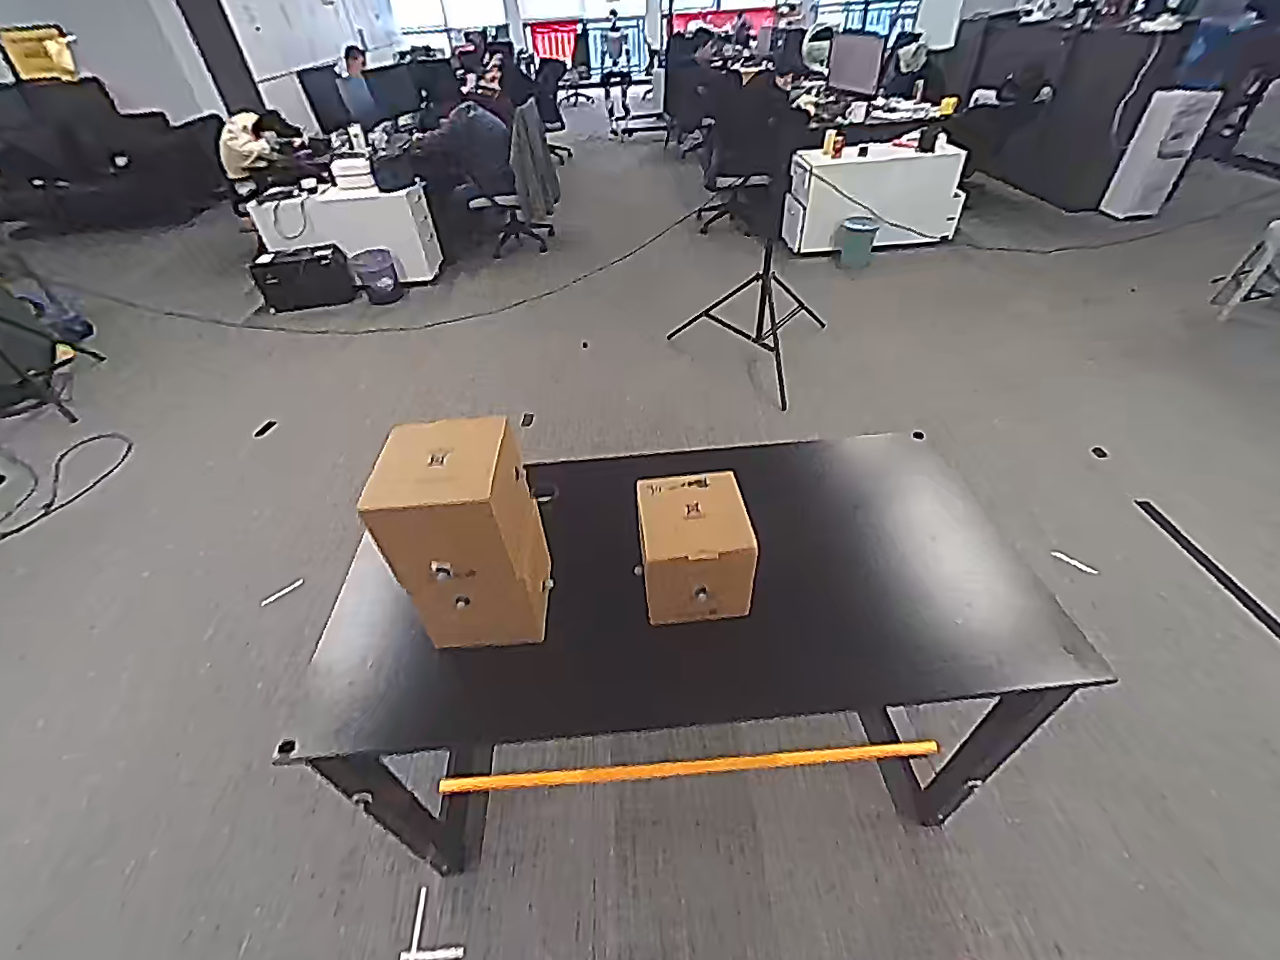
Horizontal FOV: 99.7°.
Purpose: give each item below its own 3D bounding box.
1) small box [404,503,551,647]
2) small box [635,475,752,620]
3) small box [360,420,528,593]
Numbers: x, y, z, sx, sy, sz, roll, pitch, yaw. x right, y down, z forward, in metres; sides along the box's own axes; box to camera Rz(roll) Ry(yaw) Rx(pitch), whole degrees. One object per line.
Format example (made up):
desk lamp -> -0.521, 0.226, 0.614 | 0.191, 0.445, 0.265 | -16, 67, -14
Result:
small box -> -0.250, 0.157, 0.881 | 0.179, 0.176, 0.168 | -3, 42, -1
small box -> 0.084, 0.118, 0.901 | 0.168, 0.176, 0.179 | -6, 42, -2
small box -> -0.261, 0.037, 0.771 | 0.168, 0.176, 0.179 | -6, 43, 0
